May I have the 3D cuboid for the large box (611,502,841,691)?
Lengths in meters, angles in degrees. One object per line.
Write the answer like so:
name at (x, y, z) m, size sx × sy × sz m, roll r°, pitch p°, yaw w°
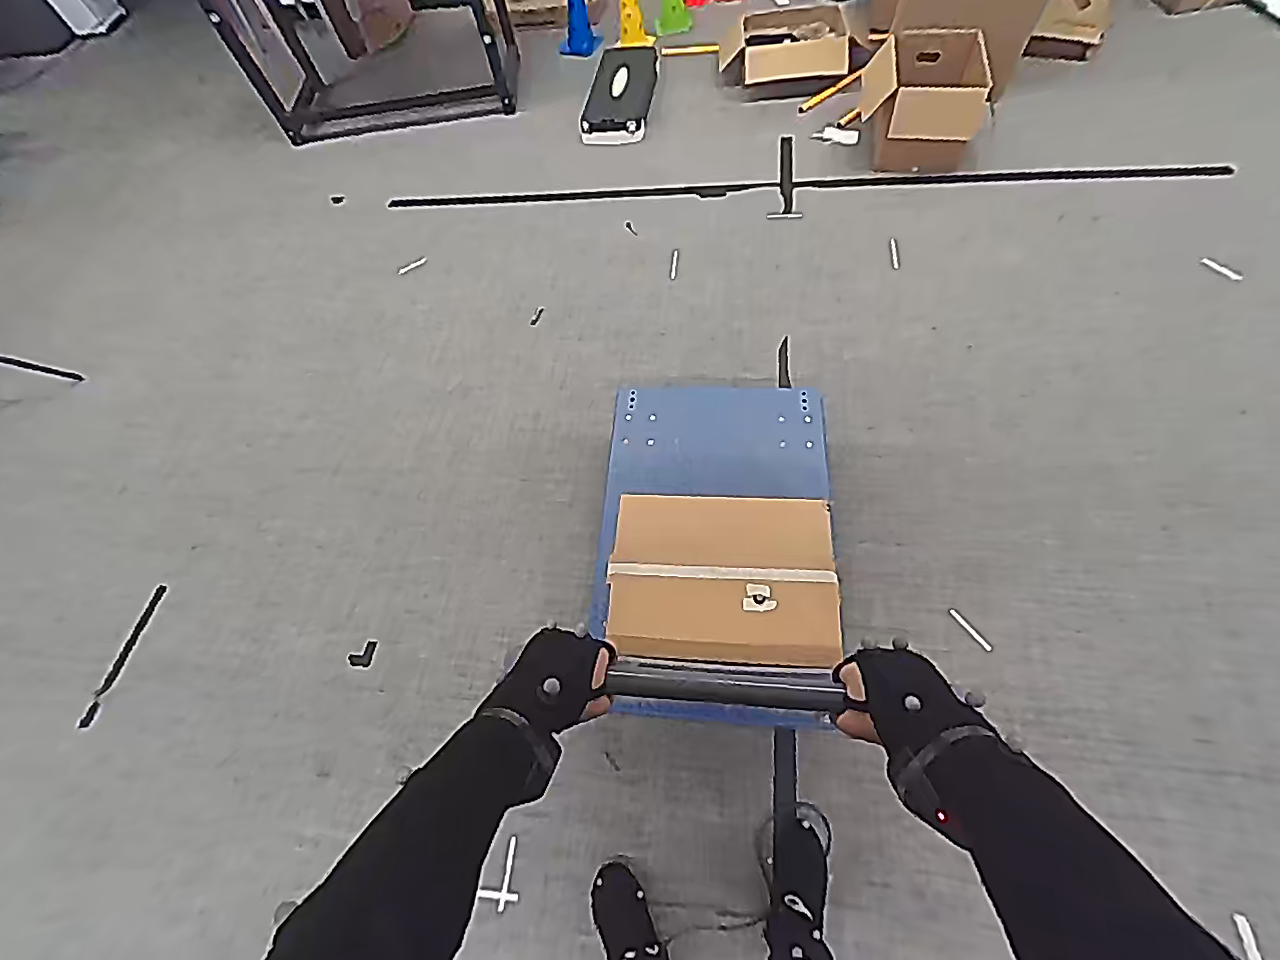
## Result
large box at (0.163, 0.253, 1.131) m, size 0.408 × 0.320 × 0.320 m, roll 1°, pitch 62°, yaw 6°
